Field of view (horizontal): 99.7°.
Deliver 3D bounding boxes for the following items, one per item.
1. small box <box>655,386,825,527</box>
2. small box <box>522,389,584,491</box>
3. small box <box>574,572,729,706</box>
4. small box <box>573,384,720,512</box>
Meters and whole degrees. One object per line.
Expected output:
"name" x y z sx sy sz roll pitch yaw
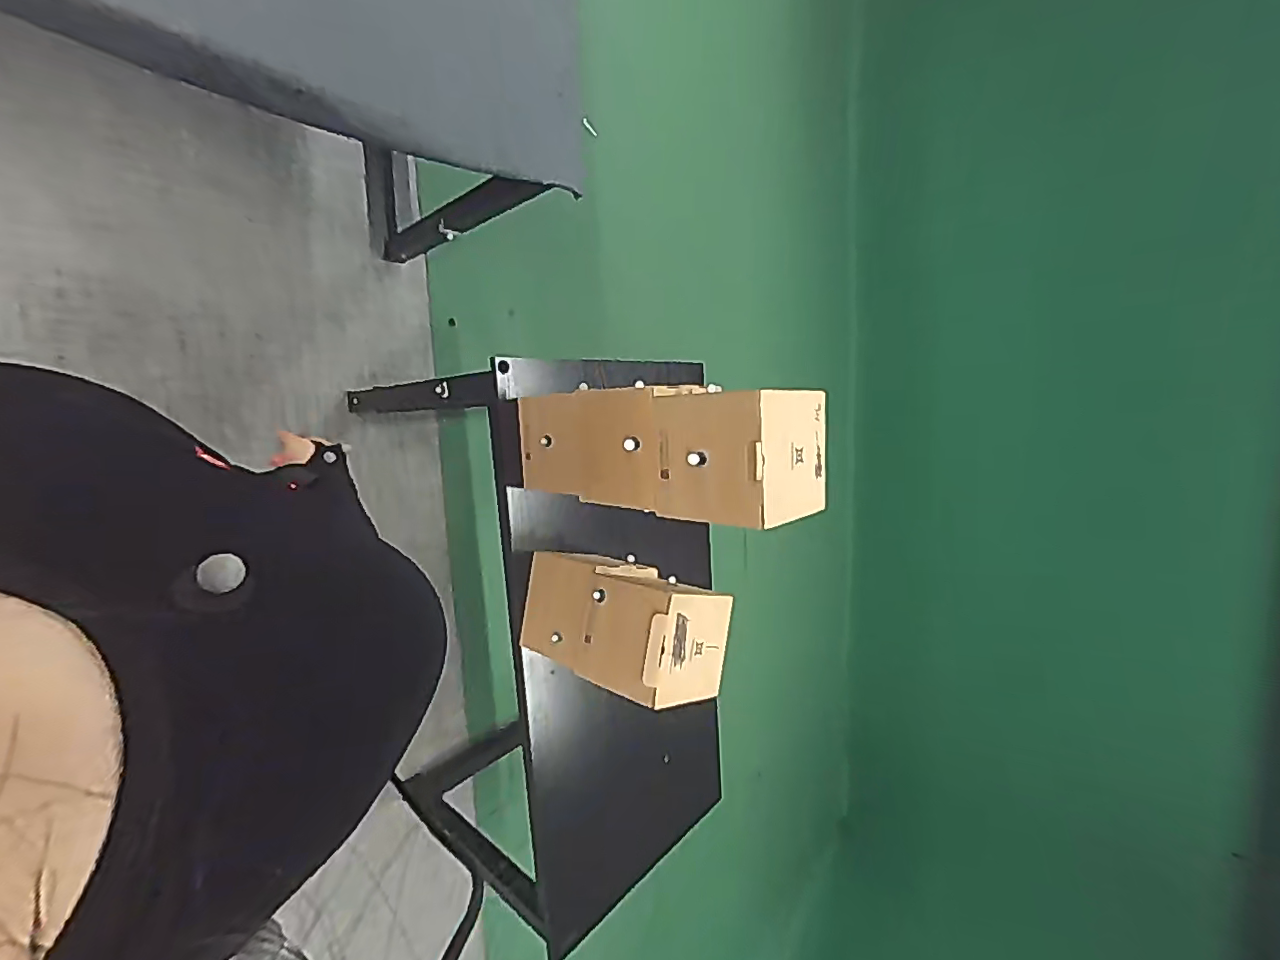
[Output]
"small box" 0.132 -0.036 0.730 0.179 0.176 0.168 -8 99 -46
"small box" -0.097 -0.076 0.960 0.179 0.176 0.168 -11 103 -47
"small box" 0.018 0.247 0.874 0.179 0.176 0.168 16 82 -48
"small box" 0.011 -0.057 0.840 0.168 0.176 0.179 -11 101 -46
